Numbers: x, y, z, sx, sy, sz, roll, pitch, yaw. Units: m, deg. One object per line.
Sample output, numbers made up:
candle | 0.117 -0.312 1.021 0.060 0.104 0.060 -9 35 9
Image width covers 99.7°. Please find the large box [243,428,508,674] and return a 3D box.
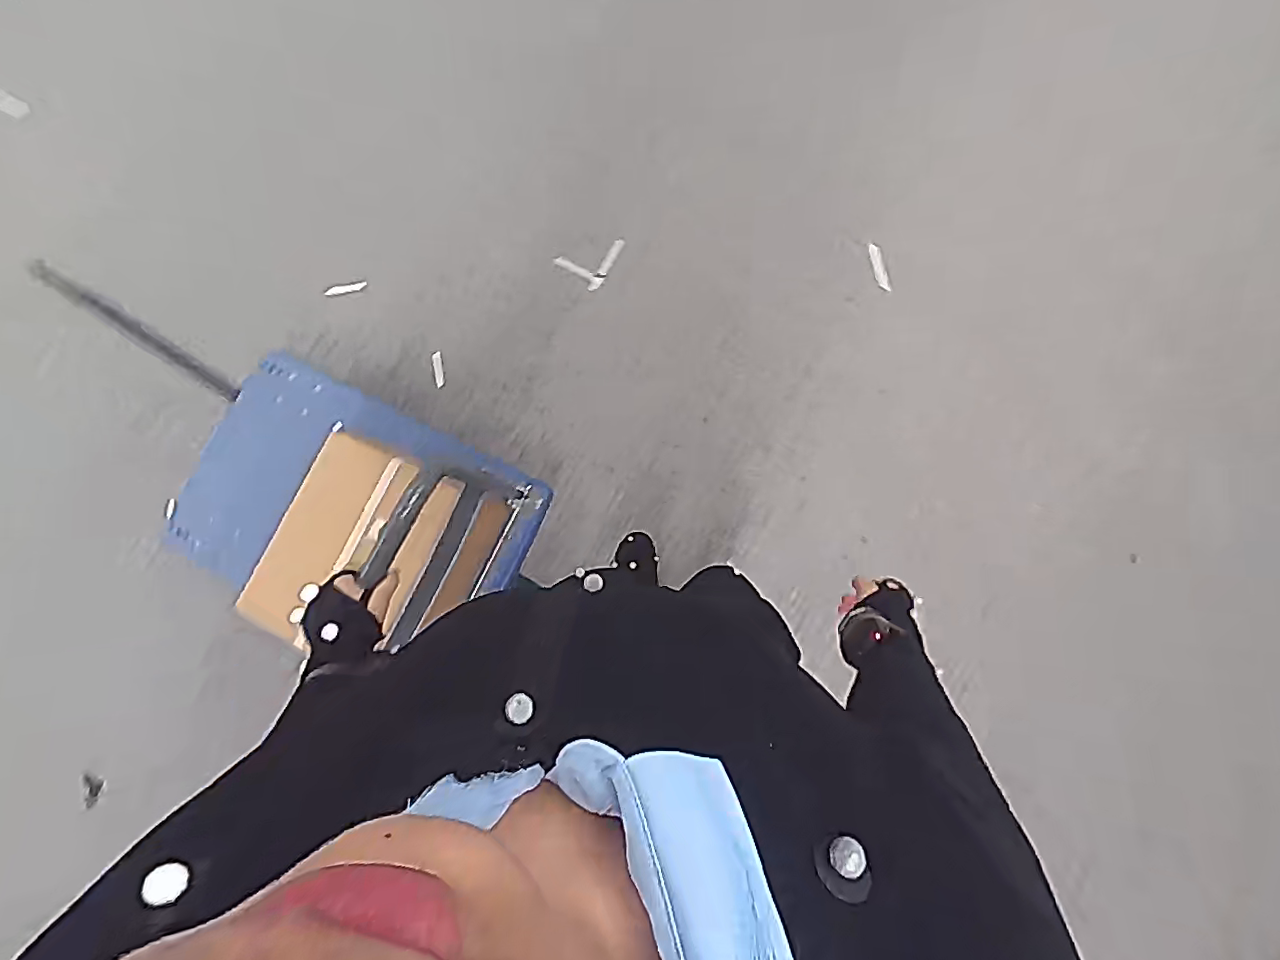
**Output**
large box | -0.557 0.156 1.215 0.320 0.320 0.408 26 84 5
